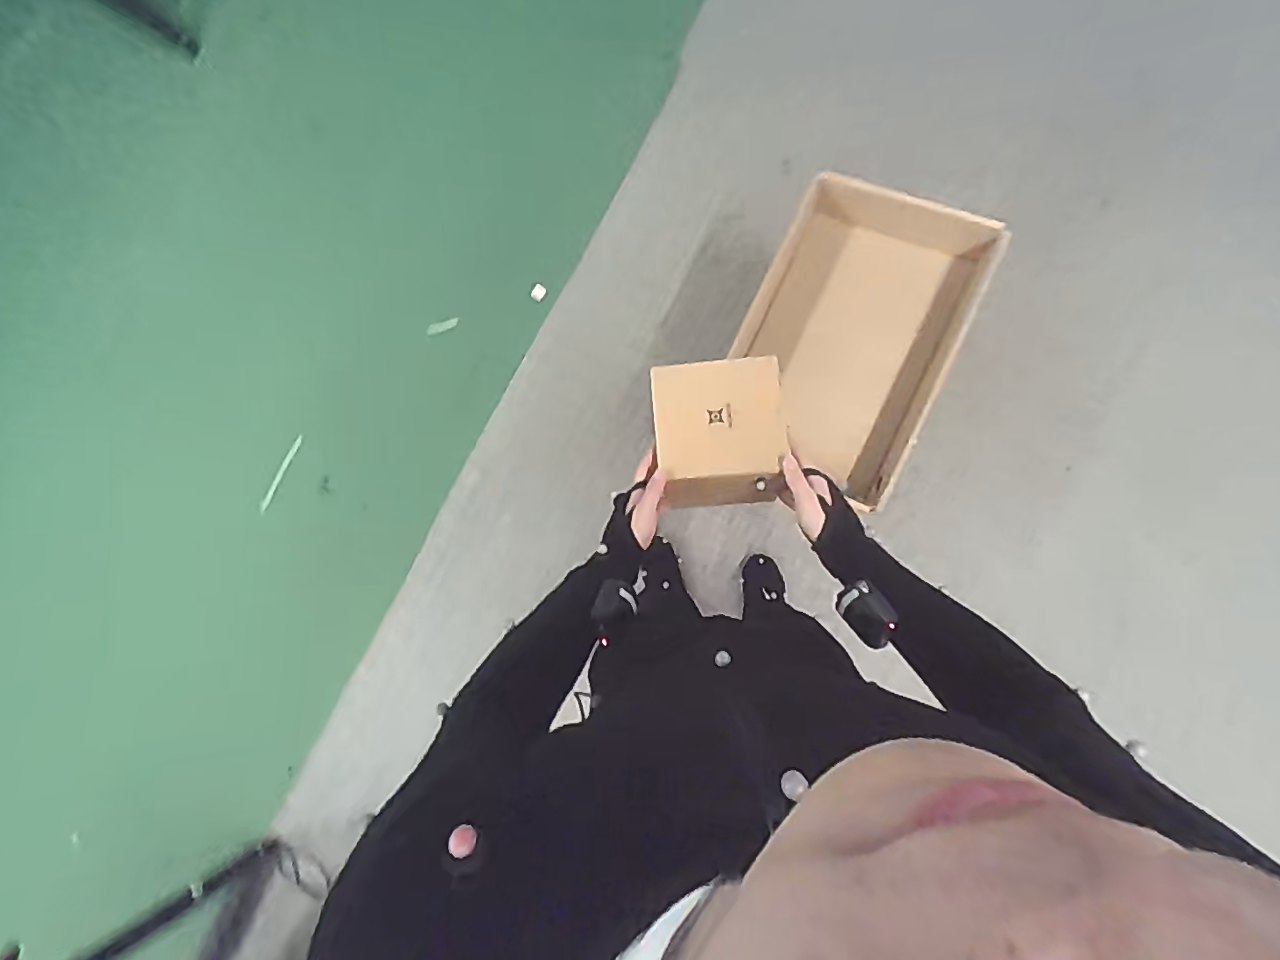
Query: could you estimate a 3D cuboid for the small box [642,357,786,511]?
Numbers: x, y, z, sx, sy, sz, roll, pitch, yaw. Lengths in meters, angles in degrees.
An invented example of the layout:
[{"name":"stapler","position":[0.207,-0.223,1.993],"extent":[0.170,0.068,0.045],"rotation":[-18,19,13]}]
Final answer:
[{"name":"small box","position":[0.100,-0.057,0.786],"extent":[0.179,0.176,0.168],"rotation":[-5,72,2]}]
